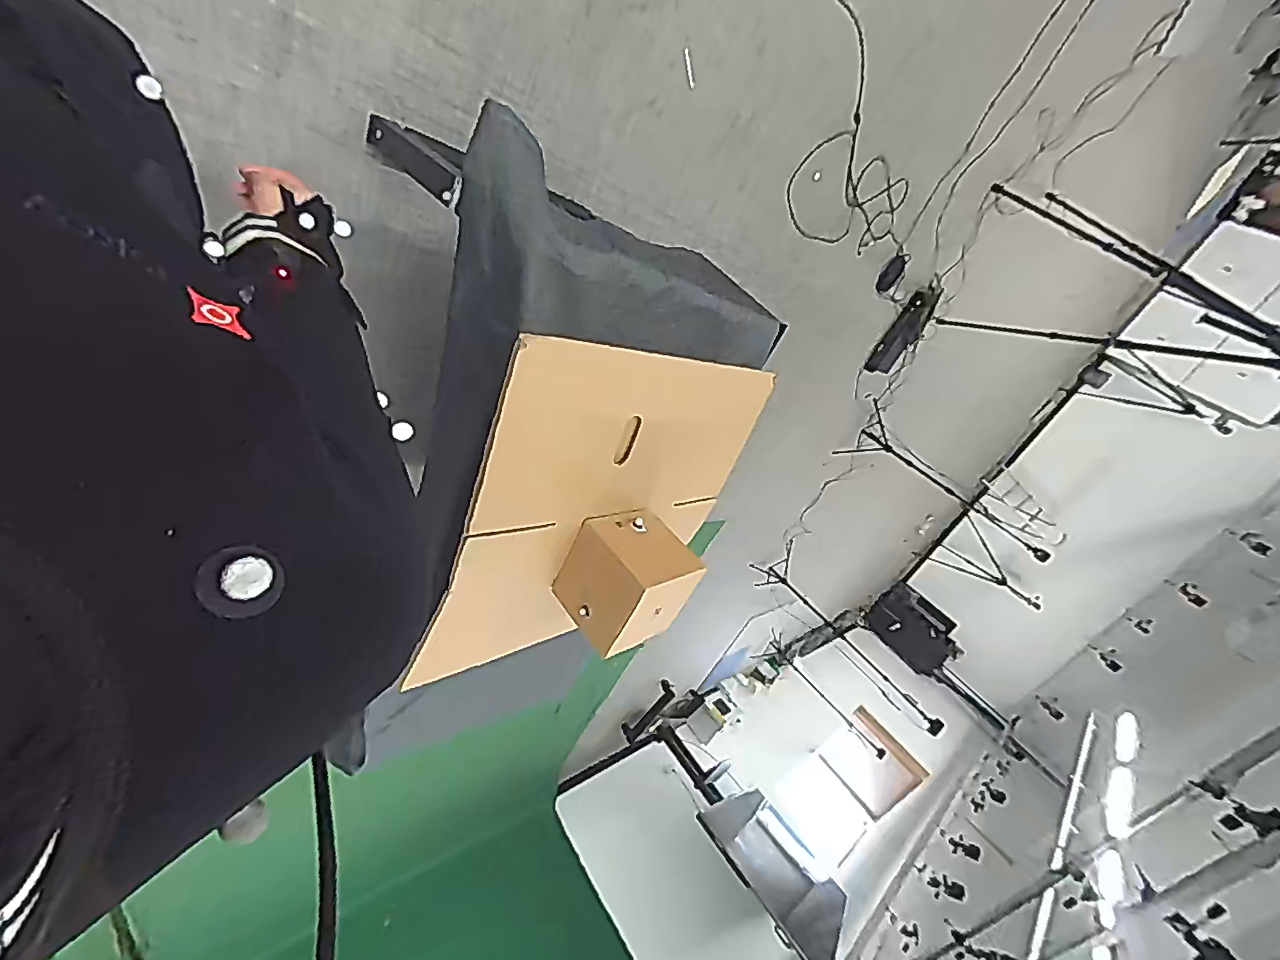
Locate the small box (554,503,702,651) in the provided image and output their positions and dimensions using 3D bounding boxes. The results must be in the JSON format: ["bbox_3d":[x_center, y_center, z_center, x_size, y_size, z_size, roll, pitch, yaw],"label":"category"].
[{"bbox_3d":[-0.029,0.166,0.966,0.168,0.176,0.179,-9,134,-48],"label":"small box"}]
